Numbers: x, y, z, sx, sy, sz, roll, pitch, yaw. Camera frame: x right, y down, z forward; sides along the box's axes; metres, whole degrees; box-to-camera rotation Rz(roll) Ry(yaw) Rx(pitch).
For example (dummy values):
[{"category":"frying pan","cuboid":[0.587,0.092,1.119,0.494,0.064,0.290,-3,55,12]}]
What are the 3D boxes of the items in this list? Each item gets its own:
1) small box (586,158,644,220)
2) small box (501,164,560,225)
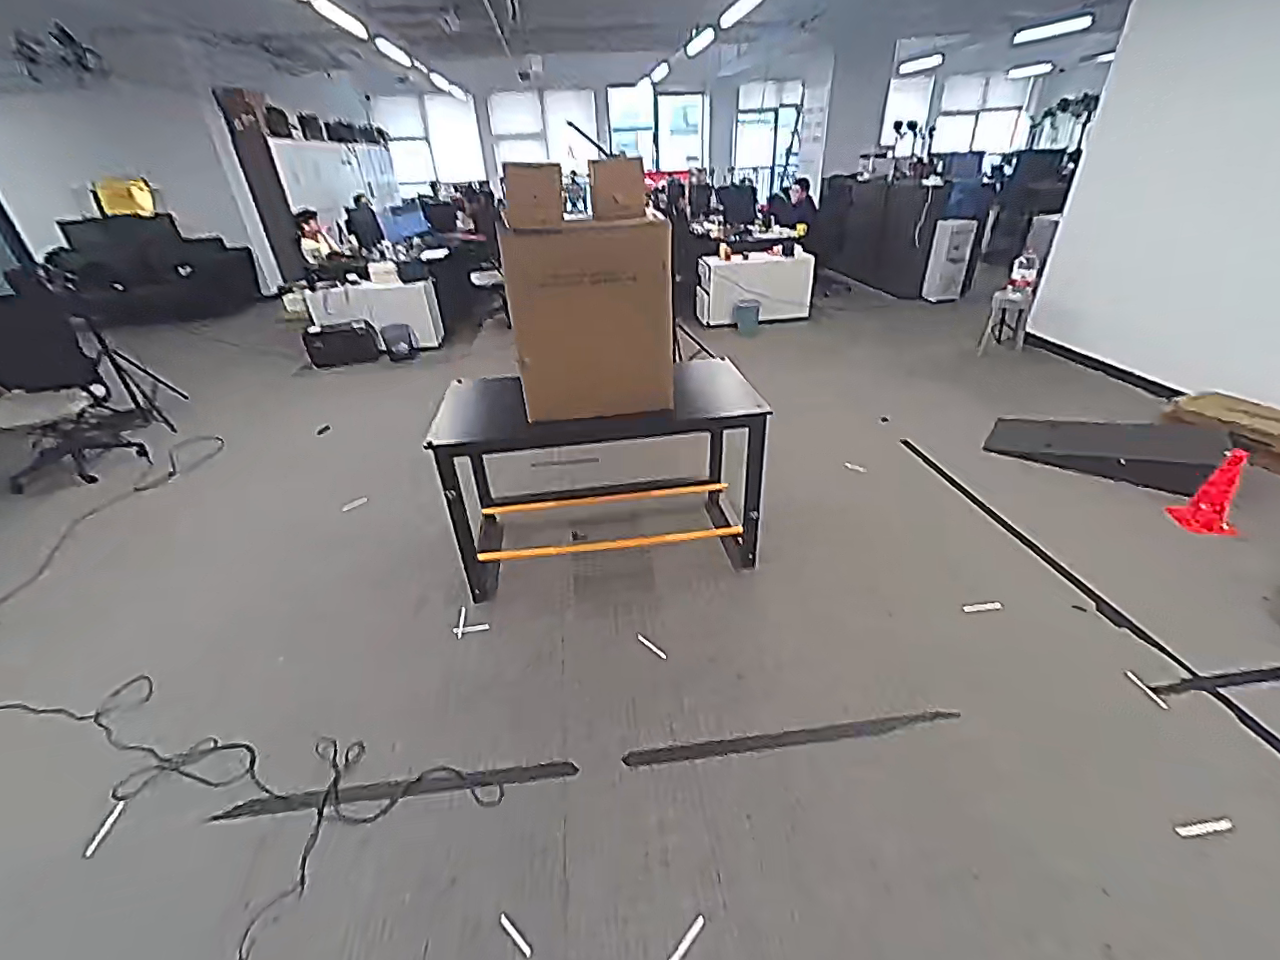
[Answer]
[{"category":"small box","cuboid":[-0.083,-0.960,1.783,0.168,0.176,0.179,-9,31,-6]},{"category":"small box","cuboid":[-0.355,-0.932,1.768,0.168,0.176,0.179,-7,31,-6]}]
